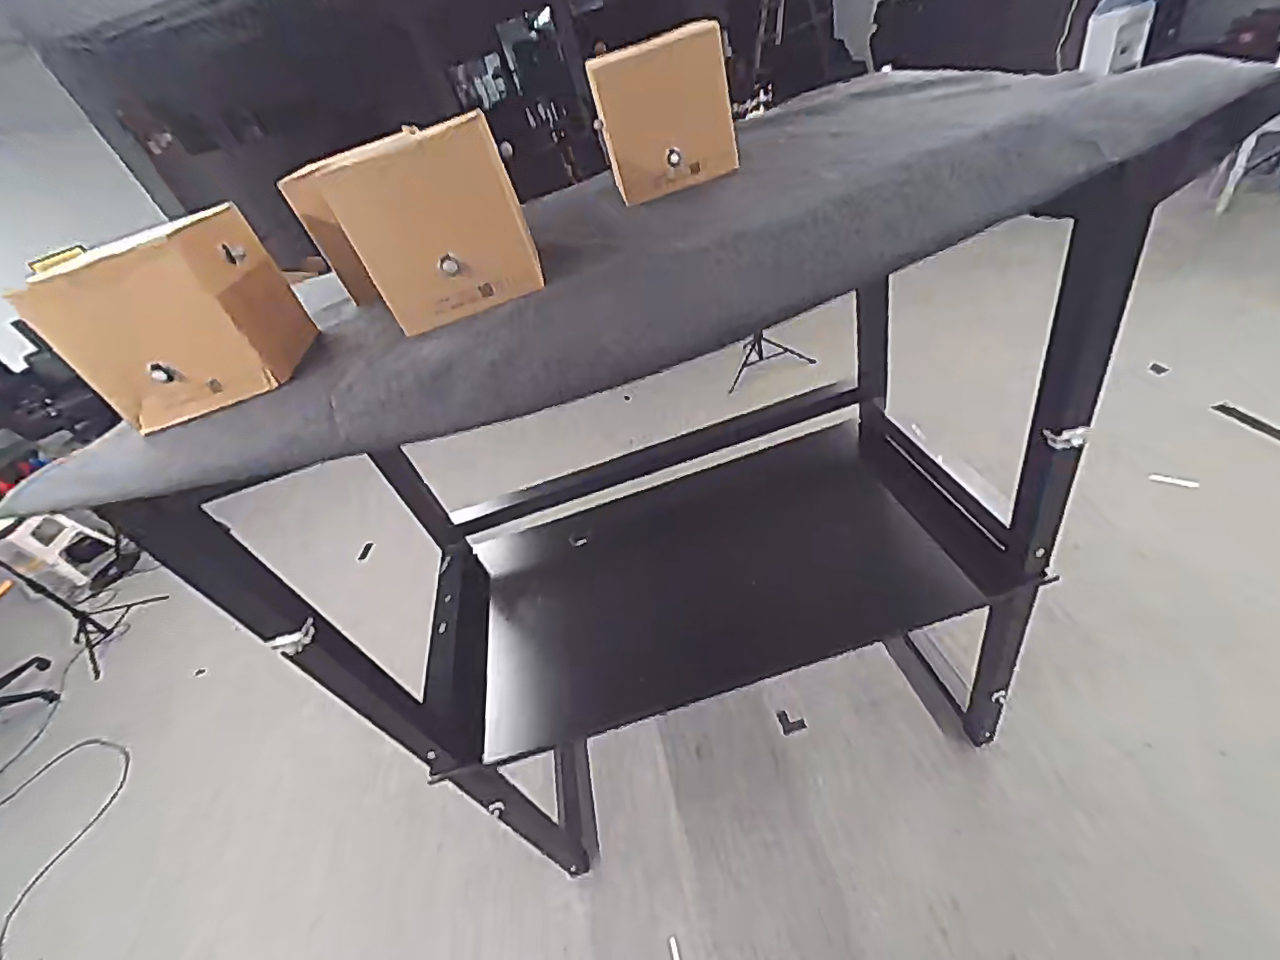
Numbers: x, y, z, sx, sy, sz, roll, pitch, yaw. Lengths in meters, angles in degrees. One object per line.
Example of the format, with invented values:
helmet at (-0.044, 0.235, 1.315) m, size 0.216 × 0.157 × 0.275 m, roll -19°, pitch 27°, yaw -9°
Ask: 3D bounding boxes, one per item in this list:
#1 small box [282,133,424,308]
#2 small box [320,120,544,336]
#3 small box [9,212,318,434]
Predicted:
small box at (-0.367, -0.380, 0.792) m, size 0.179 × 0.176 × 0.168 m, roll -20°, pitch 39°, yaw -1°
small box at (-0.220, -0.289, 0.621) m, size 0.168 × 0.176 × 0.179 m, roll -20°, pitch 38°, yaw 0°
small box at (-0.506, -0.180, 0.615) m, size 0.168 × 0.176 × 0.179 m, roll -20°, pitch 38°, yaw -1°
